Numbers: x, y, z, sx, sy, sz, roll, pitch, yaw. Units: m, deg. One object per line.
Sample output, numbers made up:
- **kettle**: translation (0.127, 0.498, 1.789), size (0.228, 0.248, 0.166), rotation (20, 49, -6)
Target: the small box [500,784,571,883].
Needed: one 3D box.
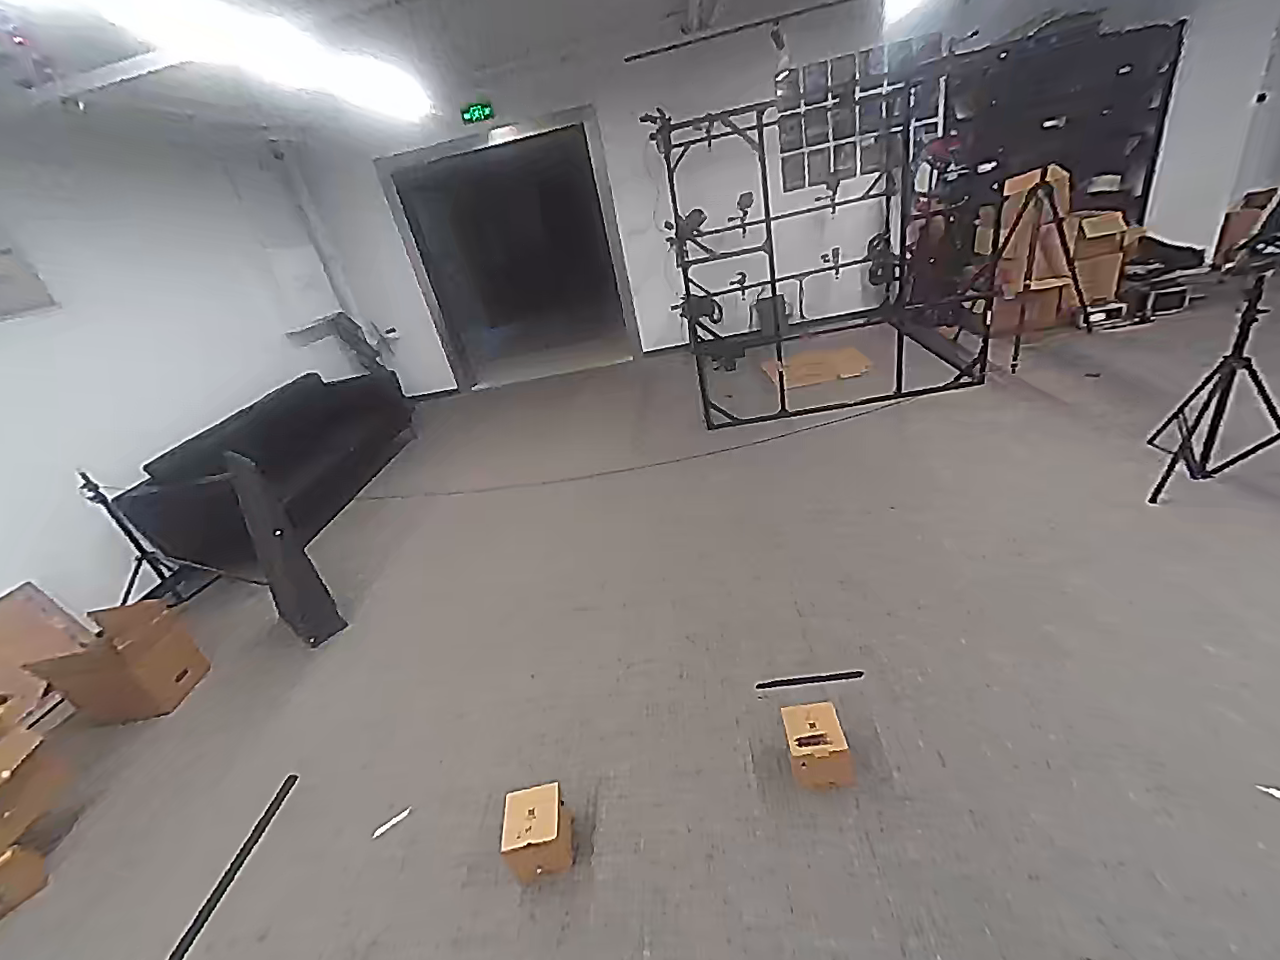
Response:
- **small box**: translation (-0.308, 1.062, 1.628), size (0.168, 0.176, 0.179), rotation (-13, 27, -1)
